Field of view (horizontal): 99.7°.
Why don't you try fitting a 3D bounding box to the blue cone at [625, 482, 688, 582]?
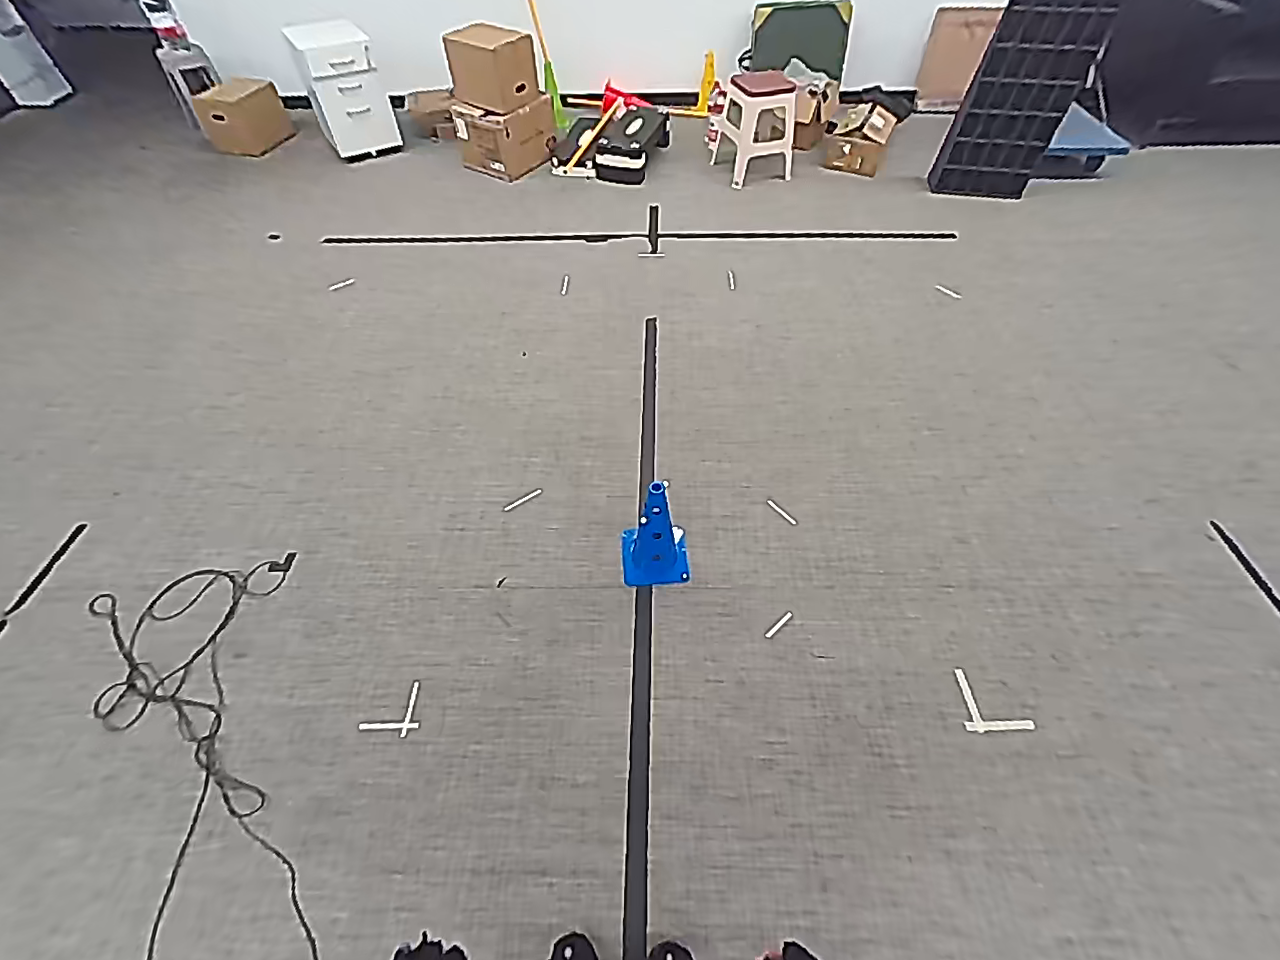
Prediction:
[{"bbox_3d":[0.050,0.132,1.554,0.192,0.380,0.193,-1,52,-2],"label":"blue cone"}]
